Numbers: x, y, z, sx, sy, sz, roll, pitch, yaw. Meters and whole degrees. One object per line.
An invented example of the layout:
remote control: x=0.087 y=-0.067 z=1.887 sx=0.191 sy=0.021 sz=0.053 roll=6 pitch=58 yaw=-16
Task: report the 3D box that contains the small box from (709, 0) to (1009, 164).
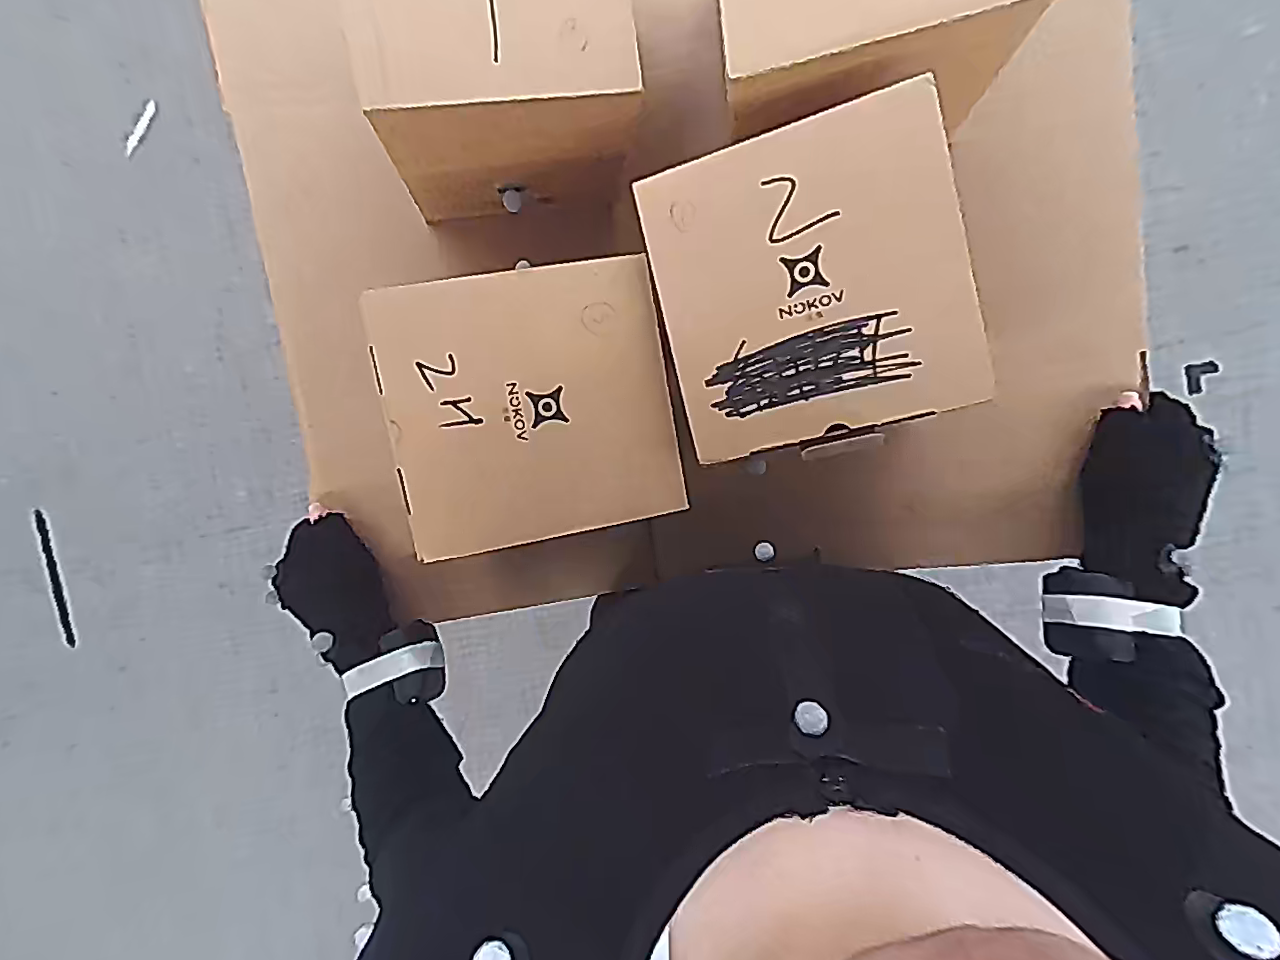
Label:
small box: x=0.130 y=-0.336 z=0.353 sx=0.168 sy=0.176 sz=0.179 roll=-6 pitch=95 yaw=13
